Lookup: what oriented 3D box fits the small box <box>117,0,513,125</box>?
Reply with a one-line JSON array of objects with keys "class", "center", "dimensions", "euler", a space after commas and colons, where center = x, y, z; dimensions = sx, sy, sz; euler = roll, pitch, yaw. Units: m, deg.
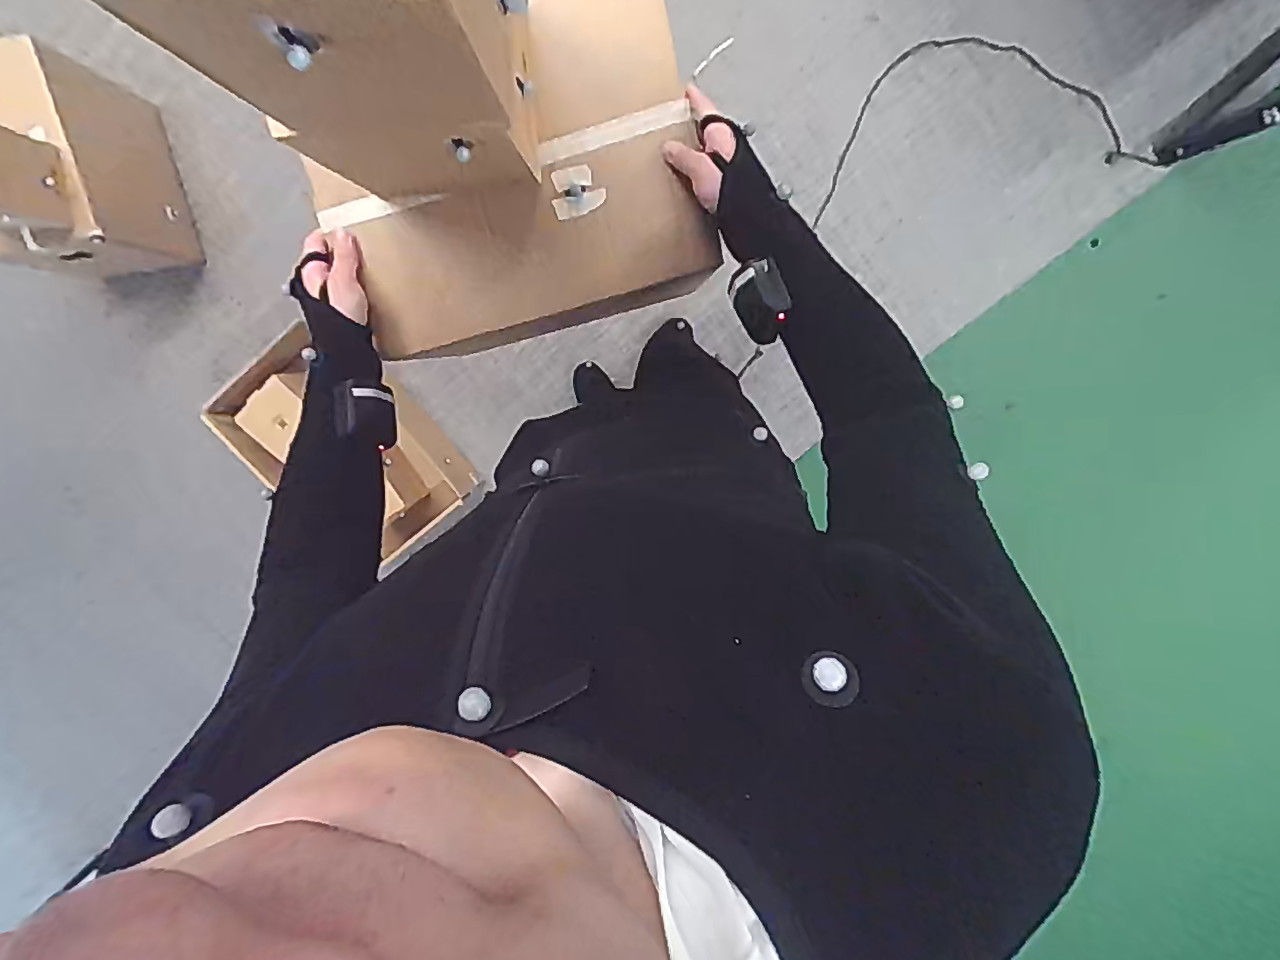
[{"class": "small box", "center": [-0.177, -0.319, 0.297], "dimensions": [0.179, 0.176, 0.168], "euler": [1, 104, -1]}]

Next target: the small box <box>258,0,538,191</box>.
[{"class": "small box", "center": [-0.194, -0.358, 0.456], "dimensions": [0.179, 0.176, 0.168], "euler": [-3, 104, 0]}]

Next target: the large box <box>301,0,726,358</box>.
[{"class": "large box", "center": [-0.139, -0.367, 0.704], "dimensions": [0.408, 0.320, 0.320], "euler": [-15, 105, 3]}]

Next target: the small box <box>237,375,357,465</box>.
[{"class": "small box", "center": [-0.917, -0.167, 1.461], "dimensions": [0.168, 0.176, 0.179], "euler": [-43, 99, 9]}]
